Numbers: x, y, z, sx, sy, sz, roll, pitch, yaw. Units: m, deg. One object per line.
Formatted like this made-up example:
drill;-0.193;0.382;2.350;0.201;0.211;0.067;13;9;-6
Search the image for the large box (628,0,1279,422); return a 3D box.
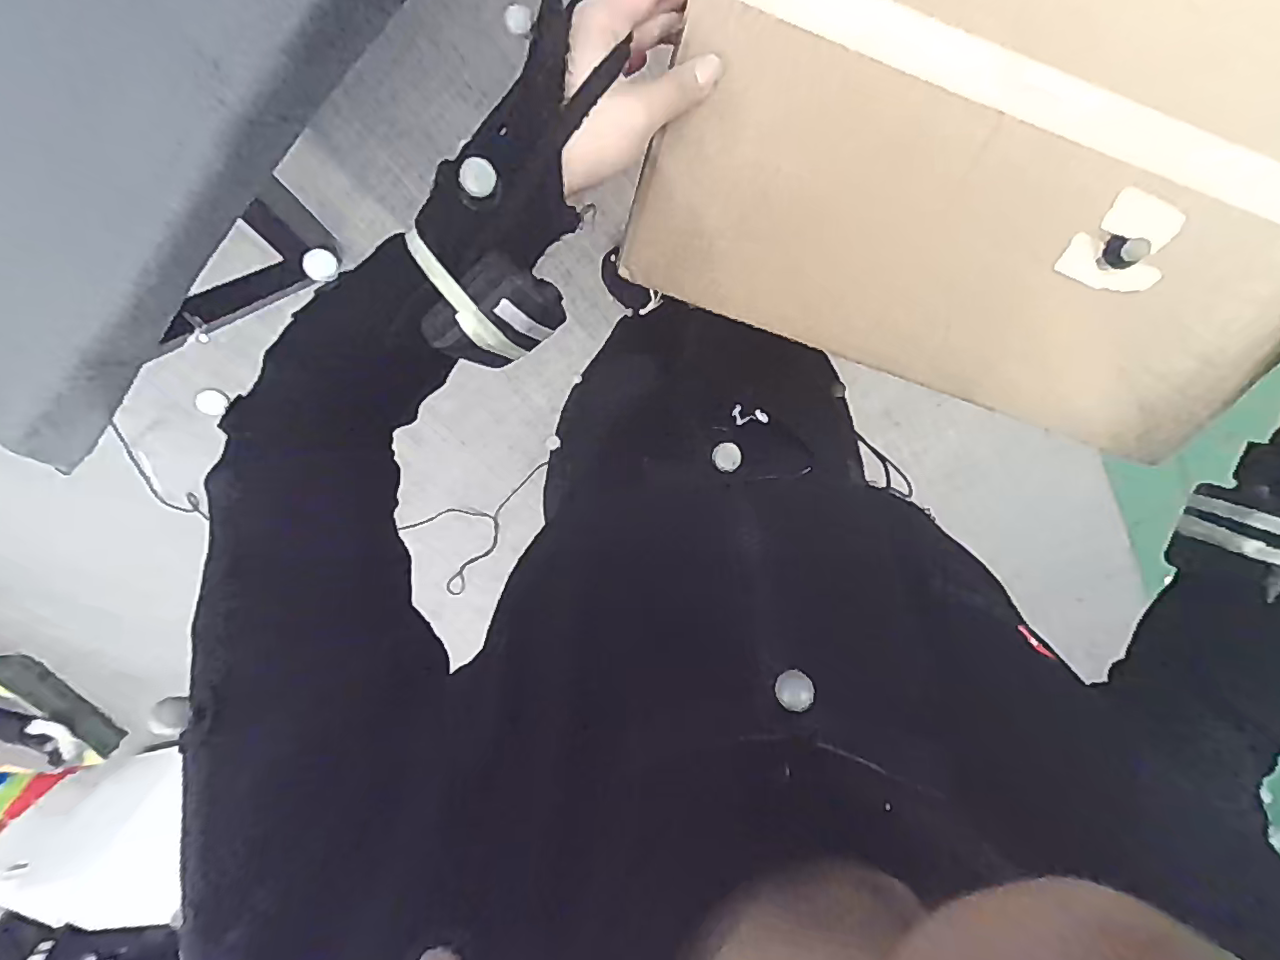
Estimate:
large box;0.231;-0.294;0.385;0.408;0.320;0.320;16;128;-6
